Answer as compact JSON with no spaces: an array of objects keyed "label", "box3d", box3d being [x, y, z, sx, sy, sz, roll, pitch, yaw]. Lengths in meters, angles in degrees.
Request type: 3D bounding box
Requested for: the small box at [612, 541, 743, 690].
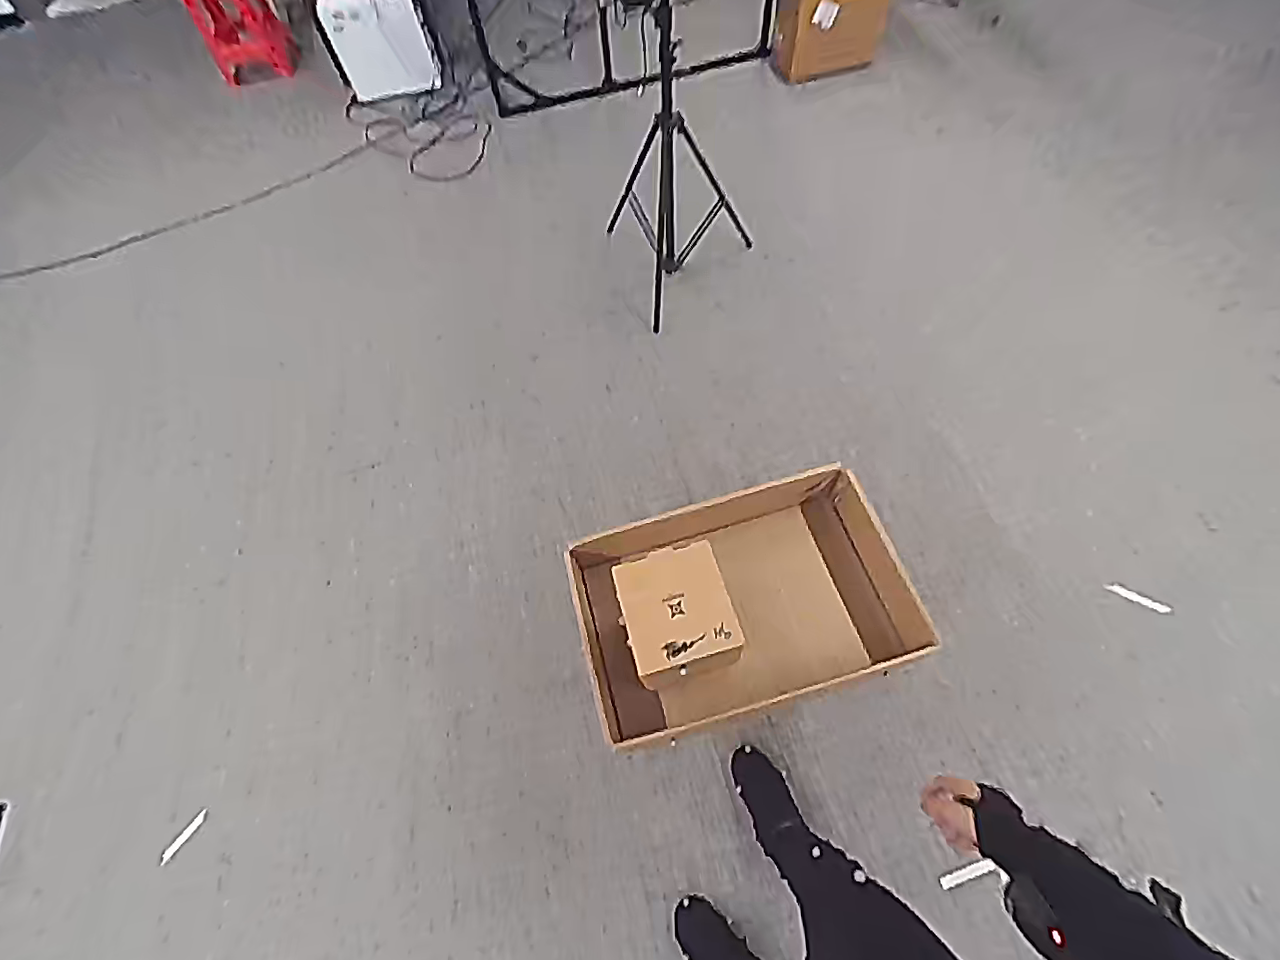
[{"label":"small box","box3d":[0.059,0.230,0.899,0.168,0.176,0.179,-16,61,-2]}]
